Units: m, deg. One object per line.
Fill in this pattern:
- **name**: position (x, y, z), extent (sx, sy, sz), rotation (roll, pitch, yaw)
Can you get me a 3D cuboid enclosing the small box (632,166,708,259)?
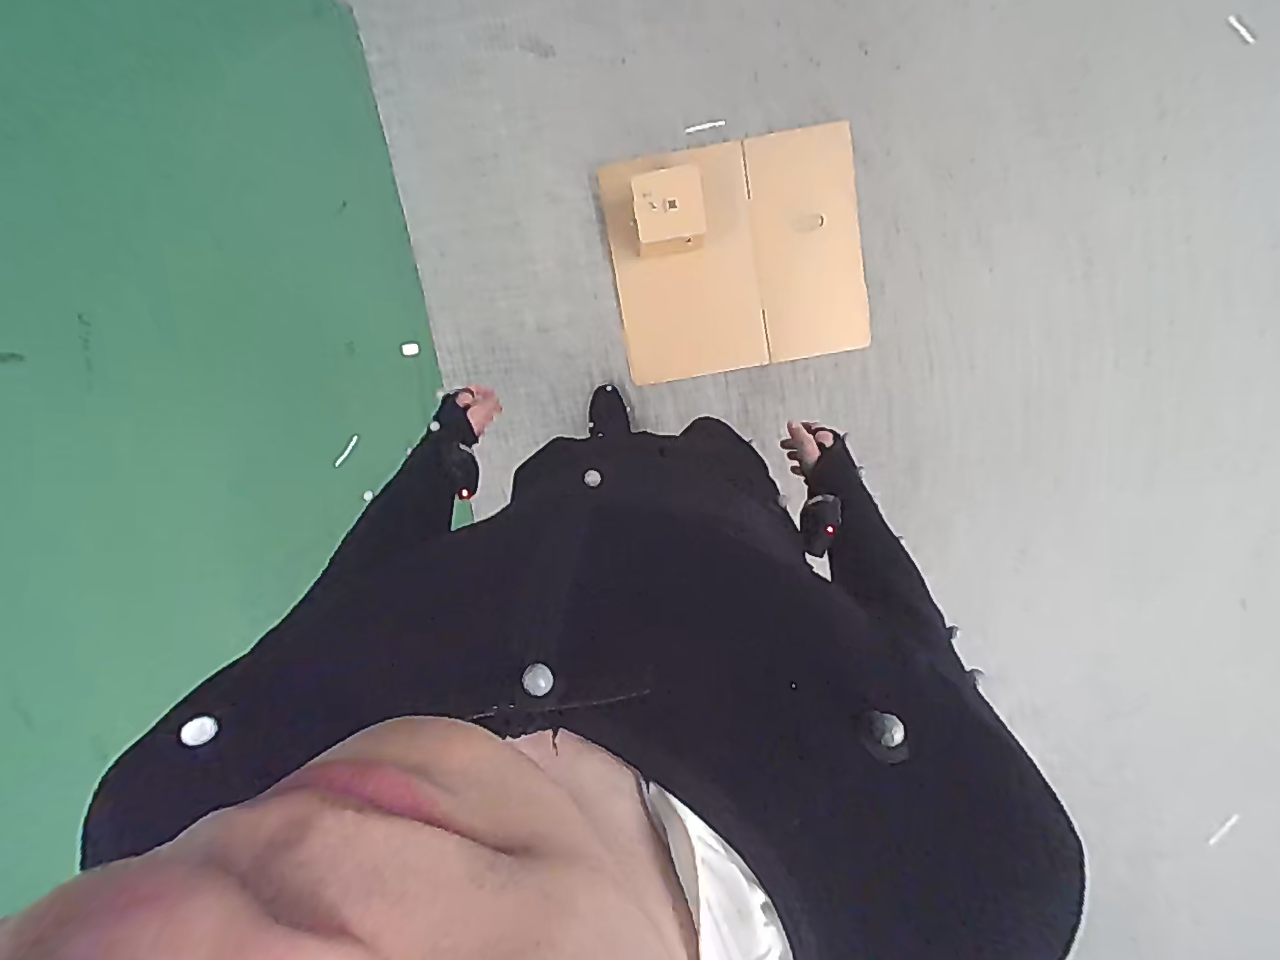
- **small box**: position (0.076, -0.696, 1.423), extent (0.179, 0.176, 0.168), rotation (-8, 99, 3)
